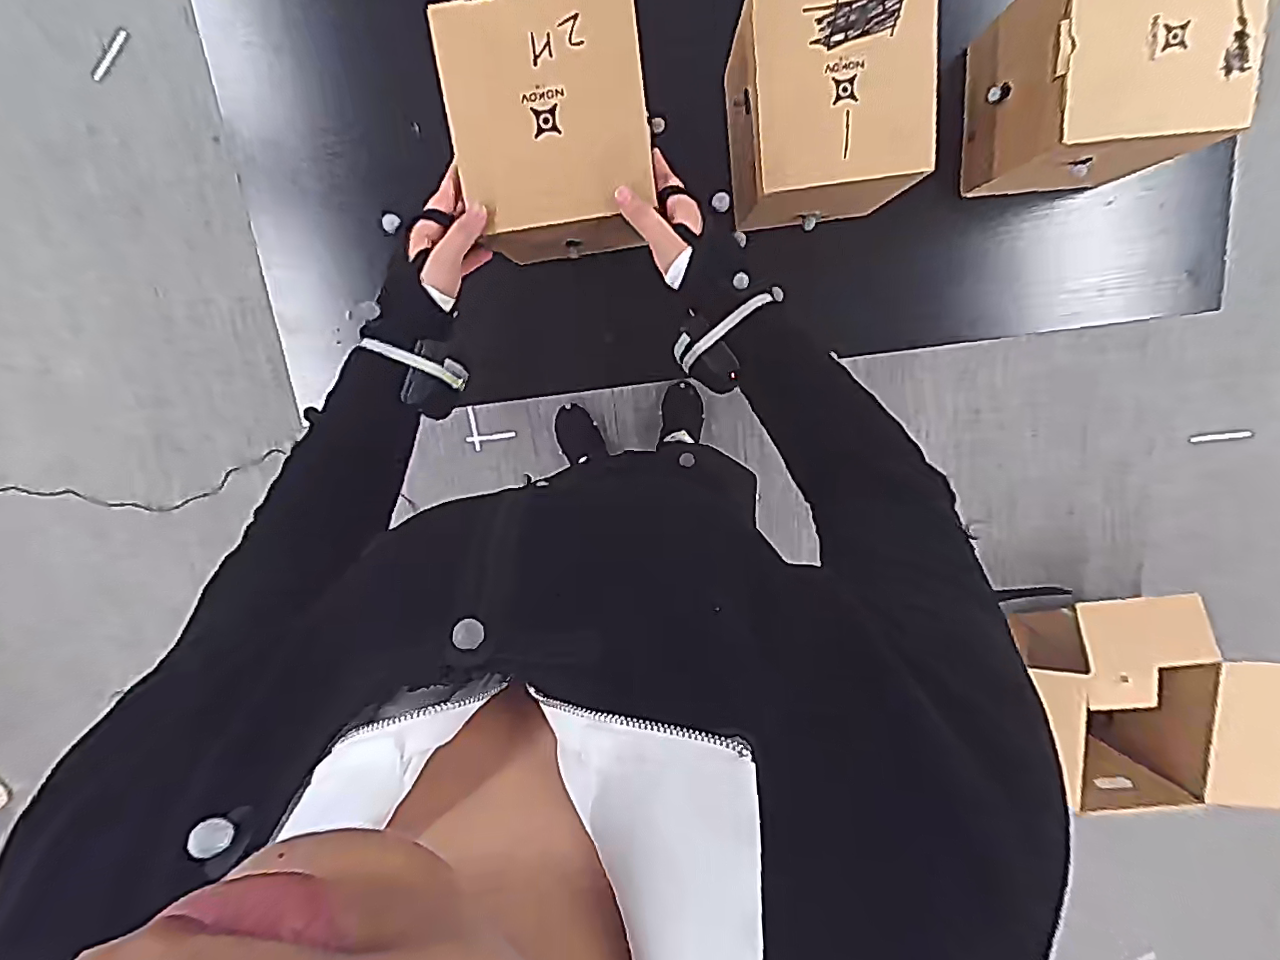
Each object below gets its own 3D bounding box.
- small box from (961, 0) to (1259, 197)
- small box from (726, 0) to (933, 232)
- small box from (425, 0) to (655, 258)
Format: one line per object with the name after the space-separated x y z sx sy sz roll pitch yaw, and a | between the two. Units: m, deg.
0.468 -0.413 0.567 0.179 0.176 0.168 -4 102 3 | small box
0.188 -0.385 0.578 0.168 0.176 0.179 -6 103 3 | small box
-0.076 -0.319 0.517 0.168 0.176 0.179 -7 104 3 | small box
